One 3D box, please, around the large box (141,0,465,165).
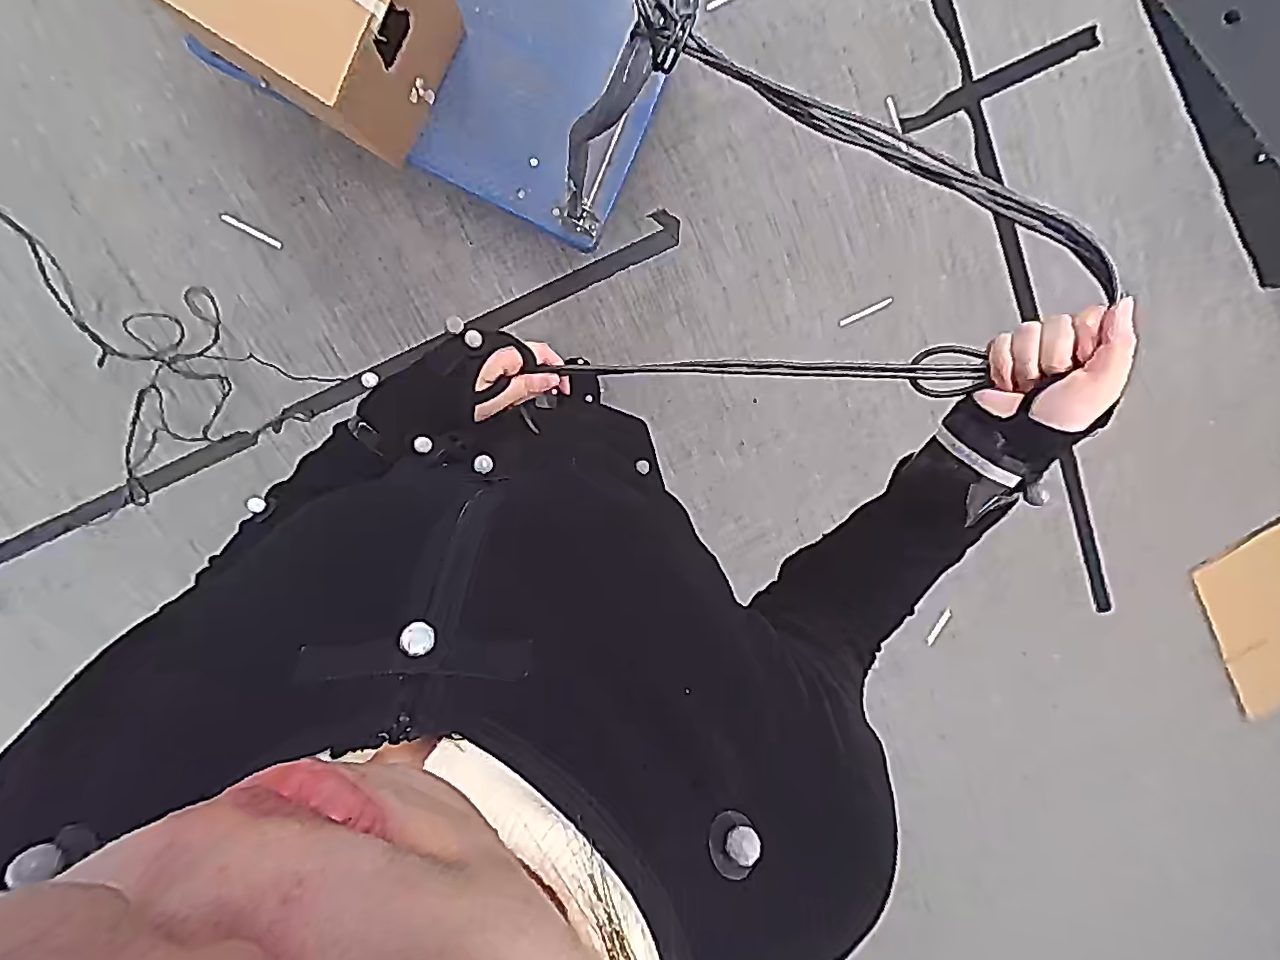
[{"bbox_3d":[-0.572,-0.825,0.911,0.408,0.320,0.320,29,99,-11],"label":"large box"}]
